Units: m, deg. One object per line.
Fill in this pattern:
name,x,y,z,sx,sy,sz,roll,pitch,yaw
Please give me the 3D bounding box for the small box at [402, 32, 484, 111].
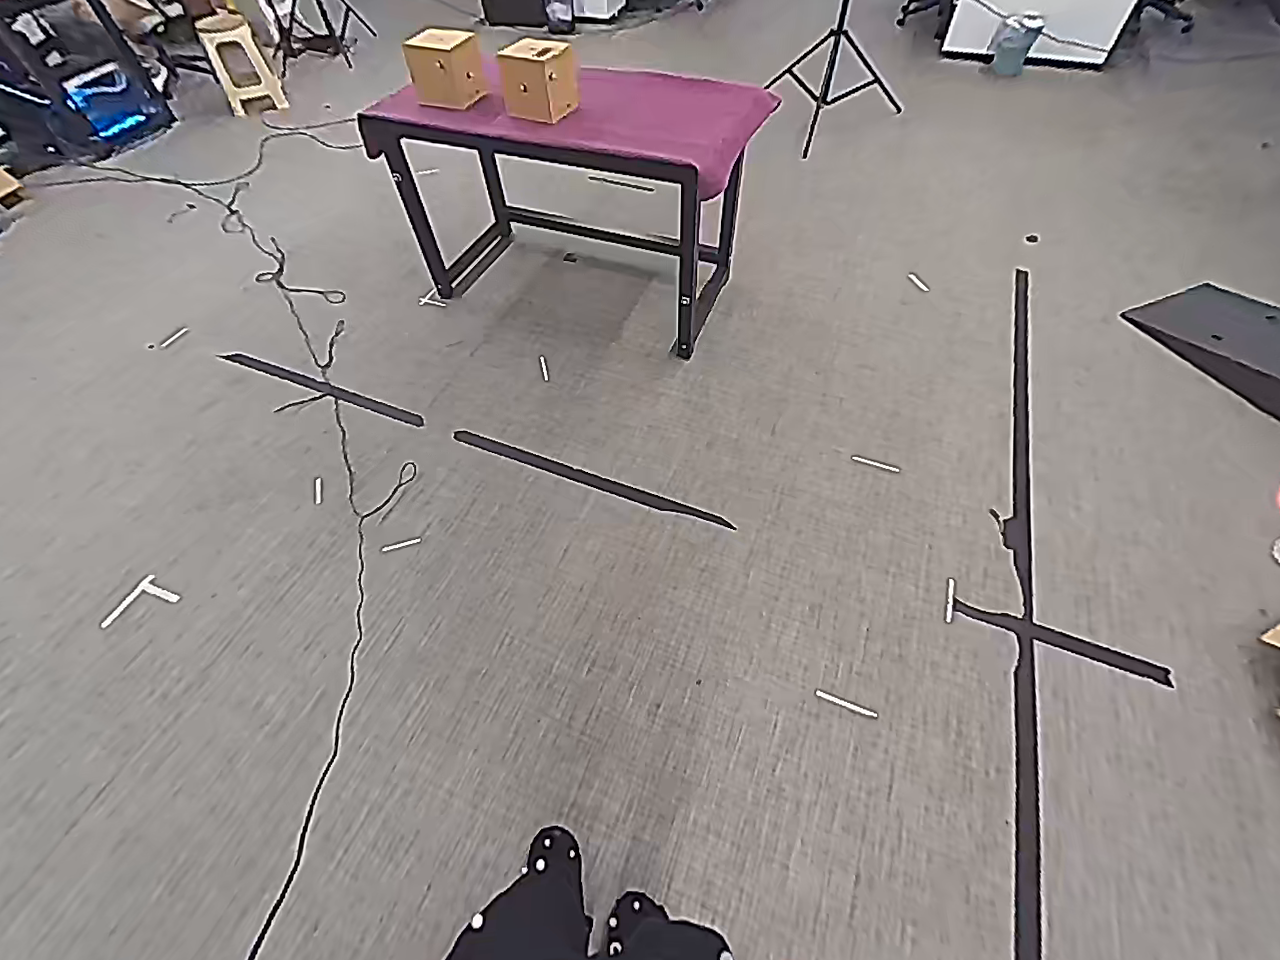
small box,-0.644,-1.354,1.797,0.179,0.176,0.168,15,55,13
